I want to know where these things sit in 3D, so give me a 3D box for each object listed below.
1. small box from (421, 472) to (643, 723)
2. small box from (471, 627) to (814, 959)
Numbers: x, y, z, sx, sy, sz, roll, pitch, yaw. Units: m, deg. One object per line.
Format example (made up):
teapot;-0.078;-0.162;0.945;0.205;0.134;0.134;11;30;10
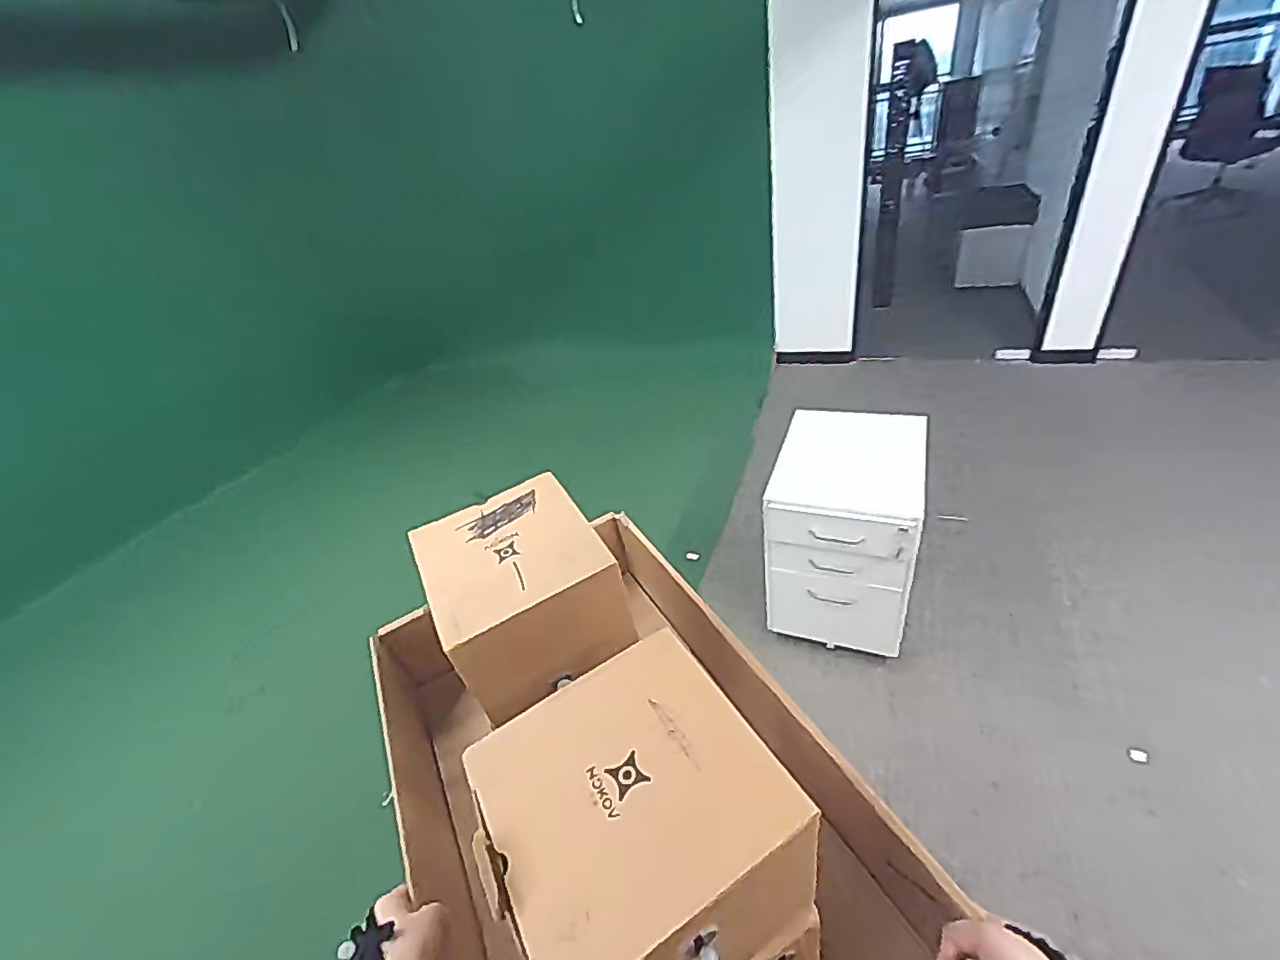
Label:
small box;-0.111;0.127;0.583;0.168;0.176;0.179;-25;41;-16
small box;0.006;0.252;0.394;0.179;0.176;0.168;-26;40;-19
